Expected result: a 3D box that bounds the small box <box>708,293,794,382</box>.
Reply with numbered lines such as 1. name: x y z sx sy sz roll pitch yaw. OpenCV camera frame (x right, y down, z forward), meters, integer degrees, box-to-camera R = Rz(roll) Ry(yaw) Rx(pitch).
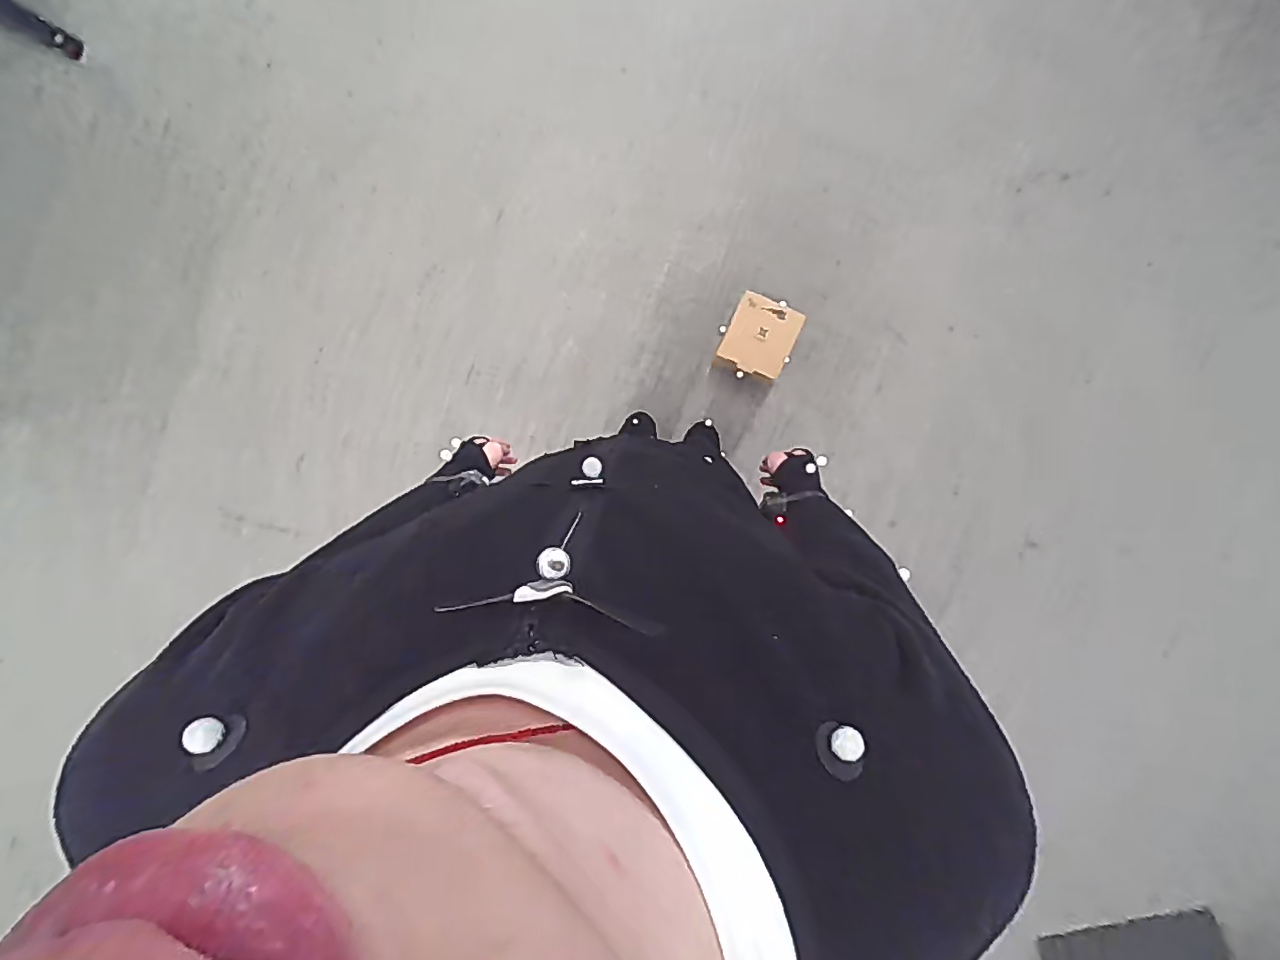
1. small box: 0.287 -0.371 1.447 0.168 0.176 0.179 22 97 0
